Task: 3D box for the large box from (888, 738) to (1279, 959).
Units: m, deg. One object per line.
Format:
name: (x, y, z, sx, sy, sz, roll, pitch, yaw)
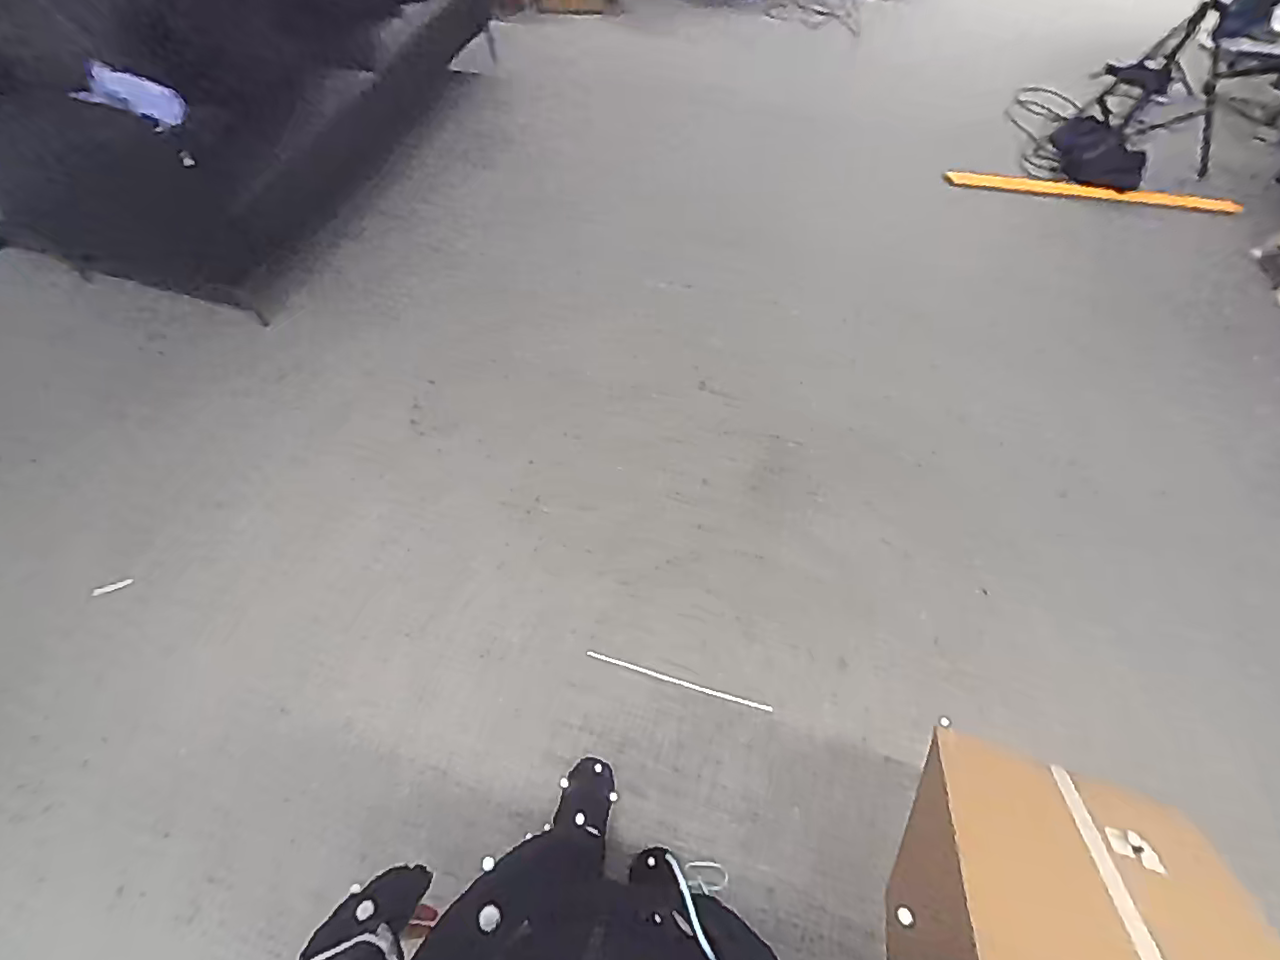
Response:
large box: (0.494, 0.601, 0.634, 0.320, 0.408, 0.320, 16, 103, 21)
